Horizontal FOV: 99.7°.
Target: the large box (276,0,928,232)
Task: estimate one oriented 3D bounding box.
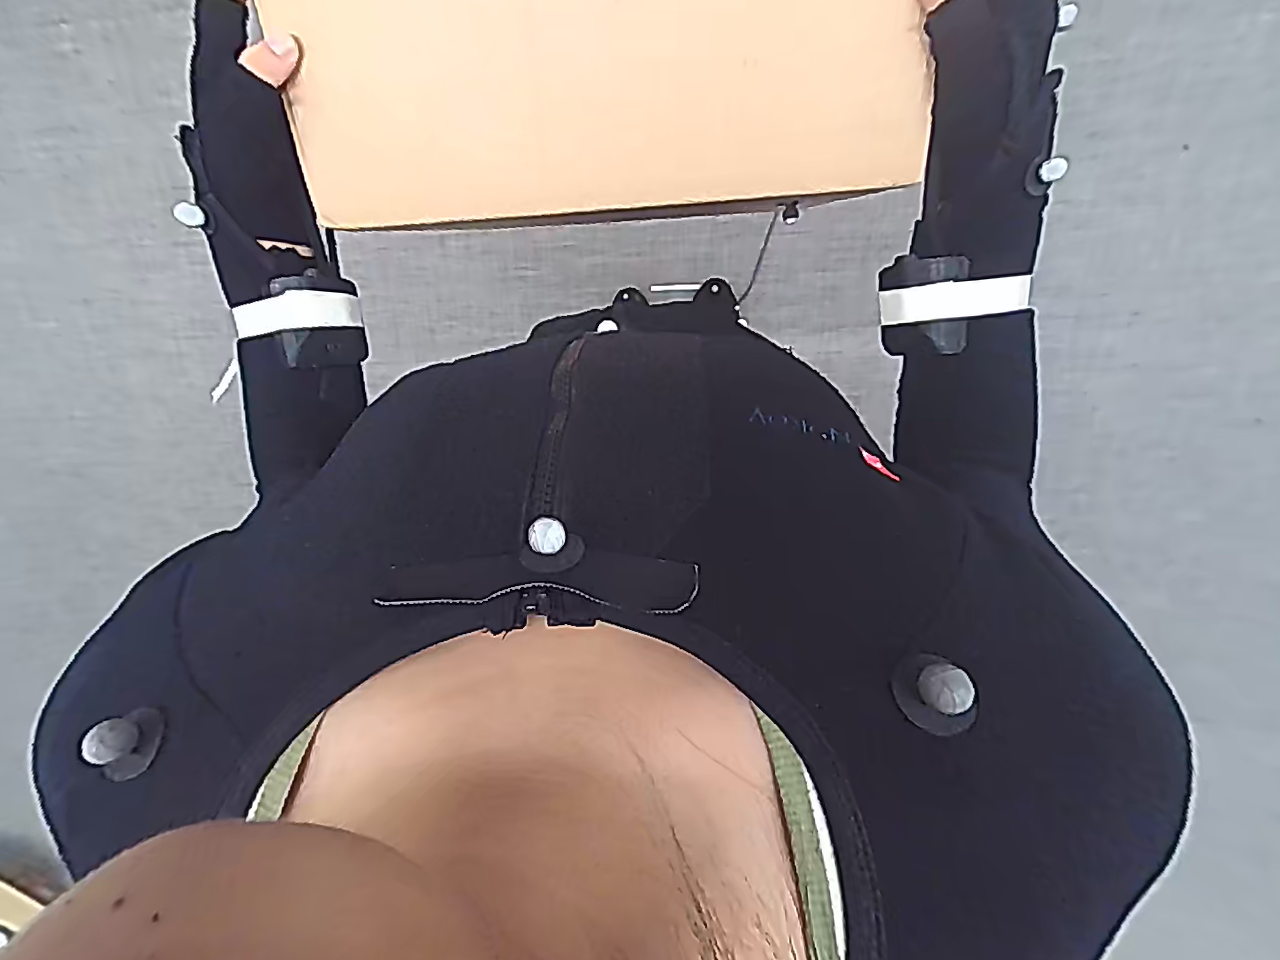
[{"bbox_3d":[-0.019,-0.392,0.445,0.408,0.320,0.320,-2,114,5],"label":"large box"}]
